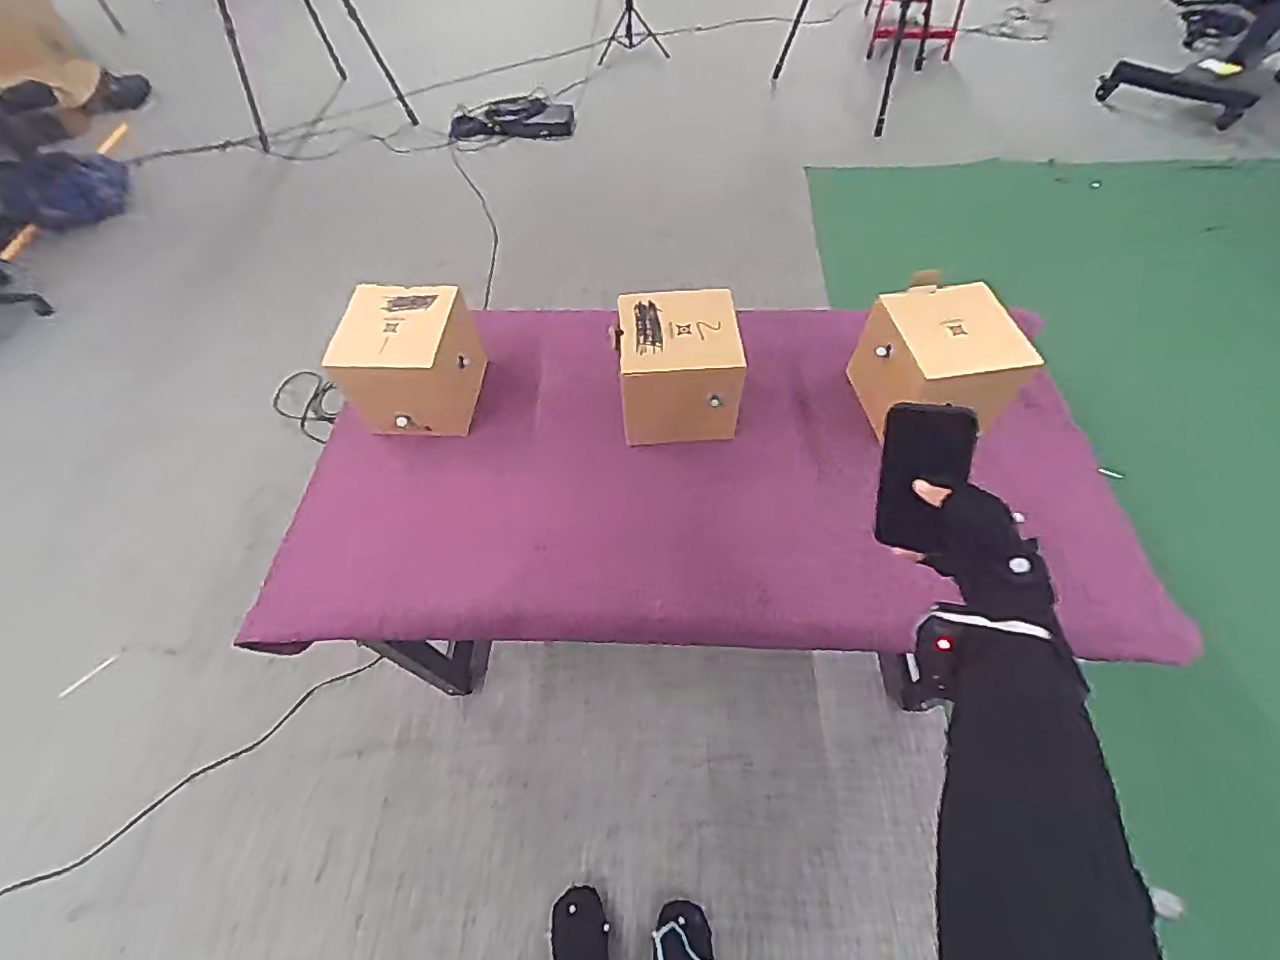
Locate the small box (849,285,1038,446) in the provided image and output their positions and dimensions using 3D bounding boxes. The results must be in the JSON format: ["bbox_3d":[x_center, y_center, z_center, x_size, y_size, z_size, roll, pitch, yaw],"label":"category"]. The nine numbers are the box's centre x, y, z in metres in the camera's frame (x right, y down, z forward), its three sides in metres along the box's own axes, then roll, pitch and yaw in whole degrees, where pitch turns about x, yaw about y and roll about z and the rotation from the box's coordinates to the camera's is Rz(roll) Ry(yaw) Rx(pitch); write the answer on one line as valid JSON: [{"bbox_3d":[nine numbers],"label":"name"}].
[{"bbox_3d":[0.447,-0.167,0.832,0.168,0.176,0.179,-8,57,-2],"label":"small box"}]

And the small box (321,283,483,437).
[{"bbox_3d":[-0.366,-0.192,0.873,0.168,0.176,0.179,2,59,3],"label":"small box"}]
